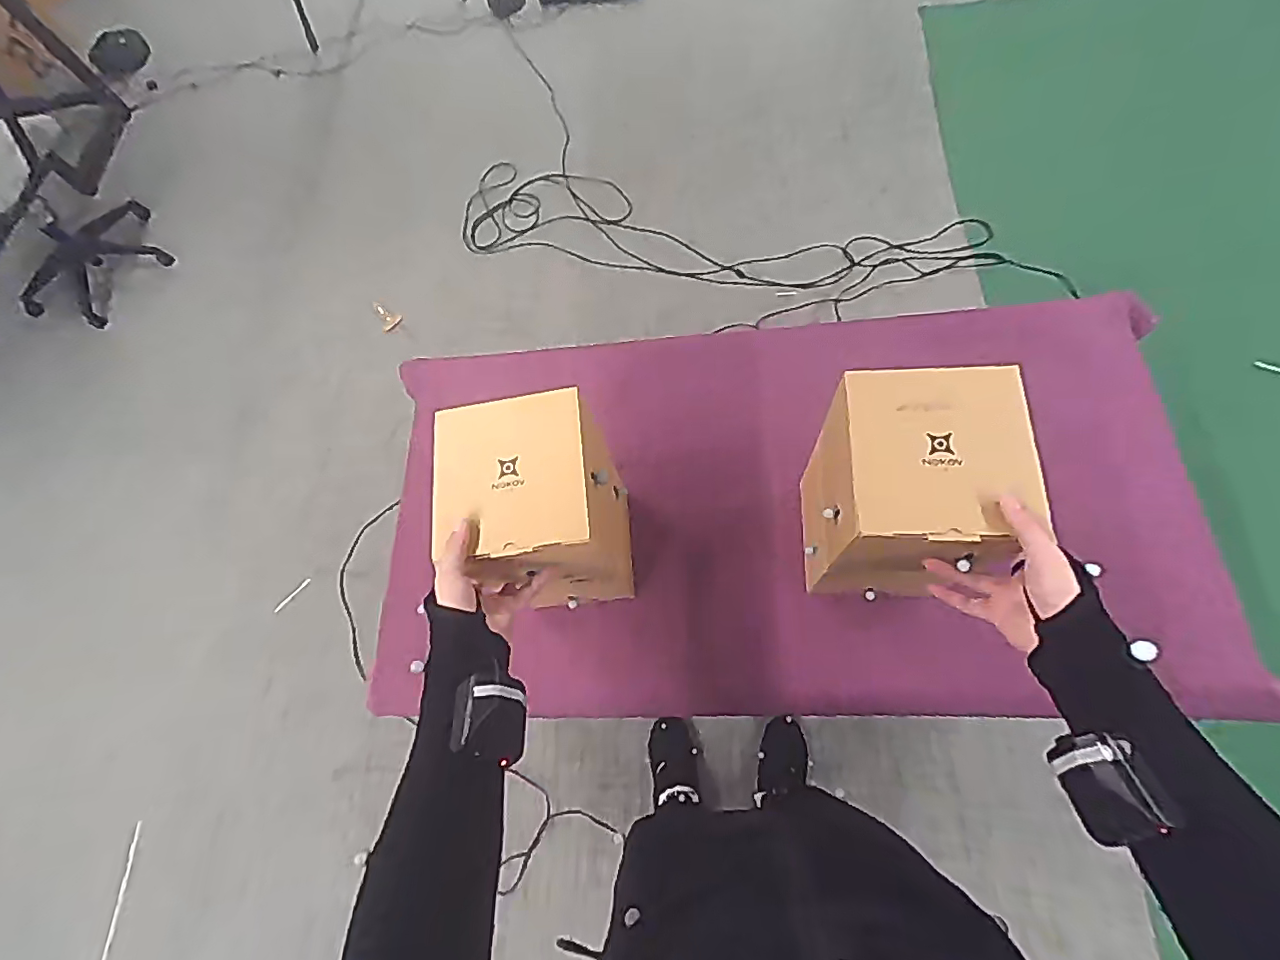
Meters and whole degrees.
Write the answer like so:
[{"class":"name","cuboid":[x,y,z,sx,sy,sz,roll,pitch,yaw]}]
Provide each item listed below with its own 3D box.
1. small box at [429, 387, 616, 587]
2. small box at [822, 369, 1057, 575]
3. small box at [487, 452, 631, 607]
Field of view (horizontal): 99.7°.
[{"class":"small box","cuboid":[-0.126,0.017,0.630,0.168,0.176,0.179,-9,70,5]},{"class":"small box","cuboid":[0.294,0.001,0.575,0.168,0.176,0.179,1,69,9]},{"class":"small box","cuboid":[-0.108,0.078,0.780,0.168,0.176,0.179,-7,69,6]}]
